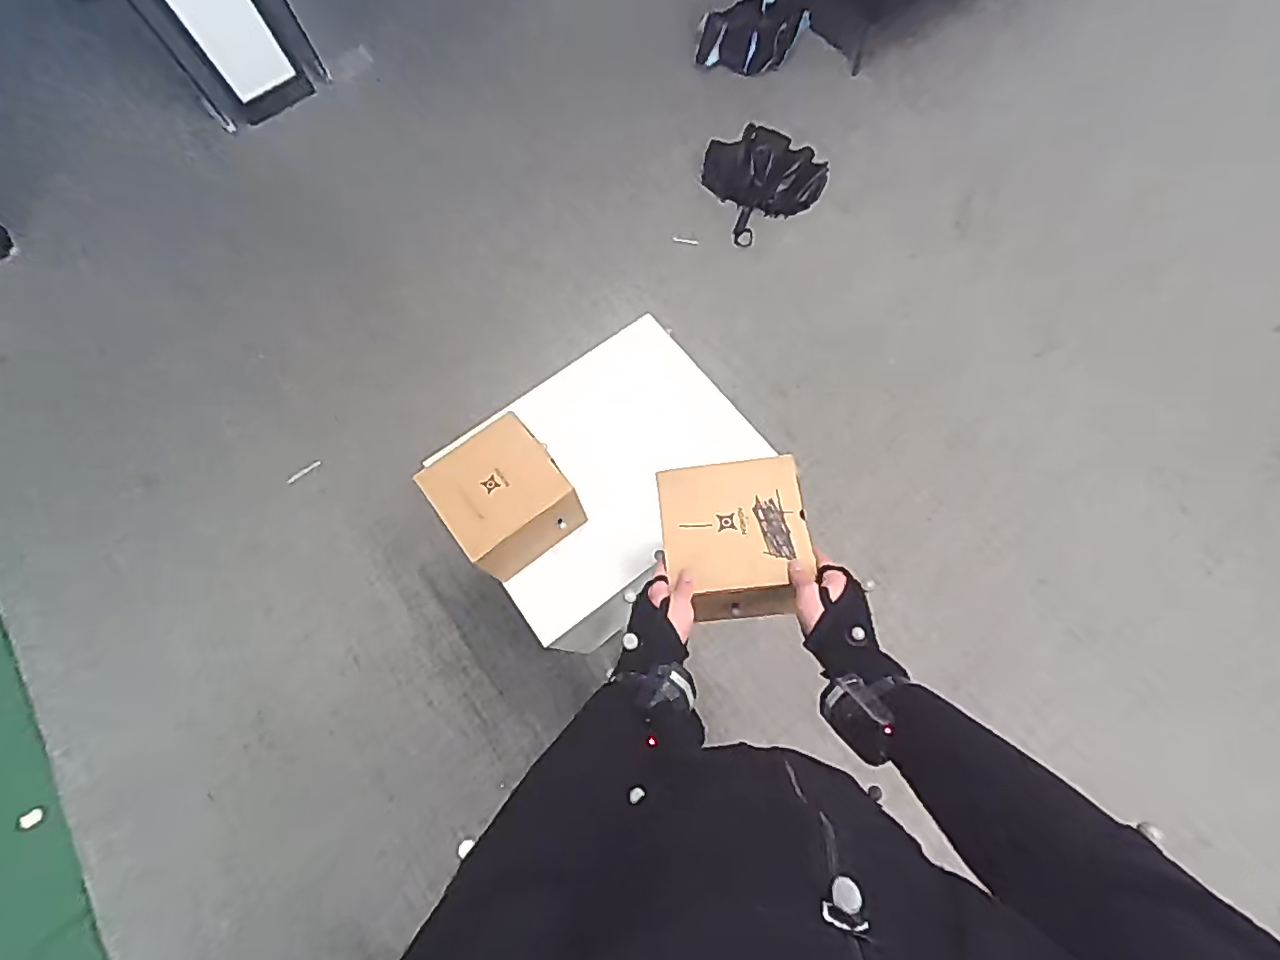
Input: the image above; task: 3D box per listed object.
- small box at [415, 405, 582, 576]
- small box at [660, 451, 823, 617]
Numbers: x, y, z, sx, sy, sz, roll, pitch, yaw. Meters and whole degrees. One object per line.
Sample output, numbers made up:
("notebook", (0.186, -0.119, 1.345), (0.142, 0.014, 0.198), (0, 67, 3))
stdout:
("small box", (-0.203, 0.023, 0.831), (0.179, 0.176, 0.168), (-36, 73, -12))
("small box", (0.121, 0.078, 0.711), (0.179, 0.176, 0.168), (-6, 63, 3))
